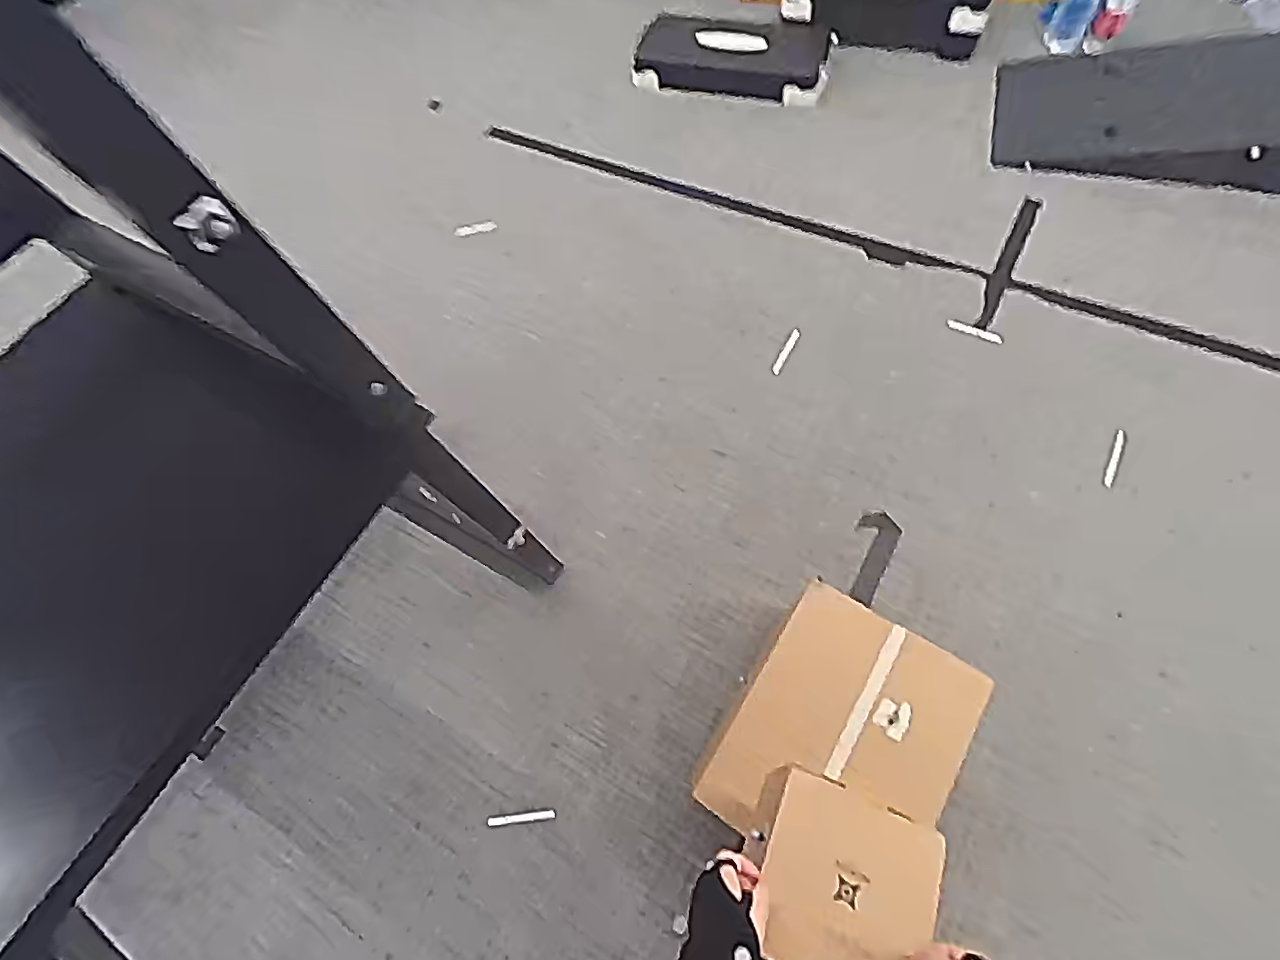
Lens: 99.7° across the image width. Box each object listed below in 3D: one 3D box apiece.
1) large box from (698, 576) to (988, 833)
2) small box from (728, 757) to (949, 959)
[{"bbox_3d":[0.331,0.452,0.971,0.320,0.320,0.408,30,72,16],"label":"large box"},{"bbox_3d":[0.206,0.440,0.595,0.168,0.176,0.179,22,60,15],"label":"small box"}]
